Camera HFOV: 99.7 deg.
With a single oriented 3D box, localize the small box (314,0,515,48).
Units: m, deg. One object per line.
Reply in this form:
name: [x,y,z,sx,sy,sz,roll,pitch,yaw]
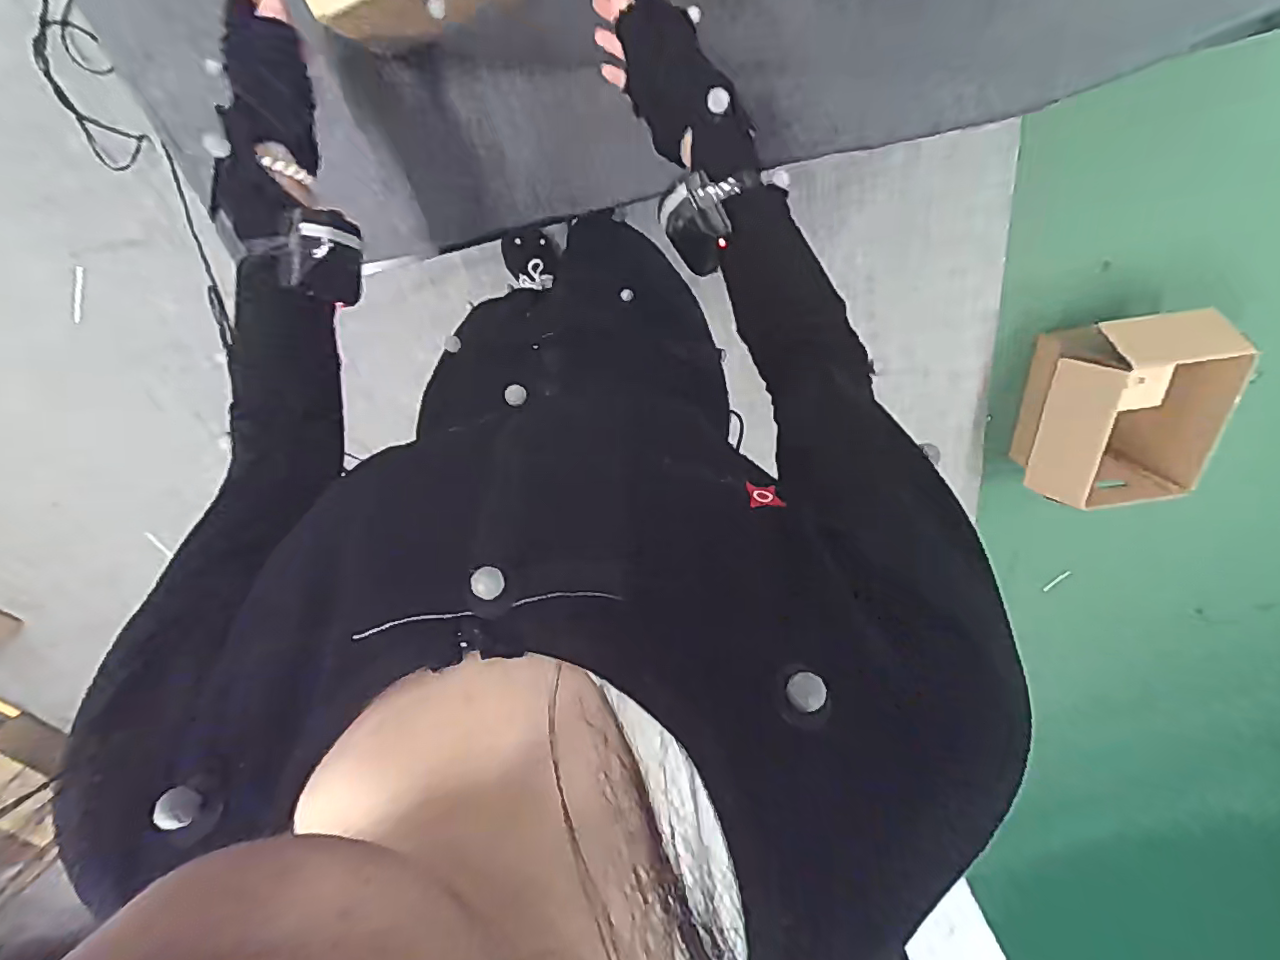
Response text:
small box: [-0.175,-0.458,0.401,0.179,0.176,0.168,-18,122,6]
